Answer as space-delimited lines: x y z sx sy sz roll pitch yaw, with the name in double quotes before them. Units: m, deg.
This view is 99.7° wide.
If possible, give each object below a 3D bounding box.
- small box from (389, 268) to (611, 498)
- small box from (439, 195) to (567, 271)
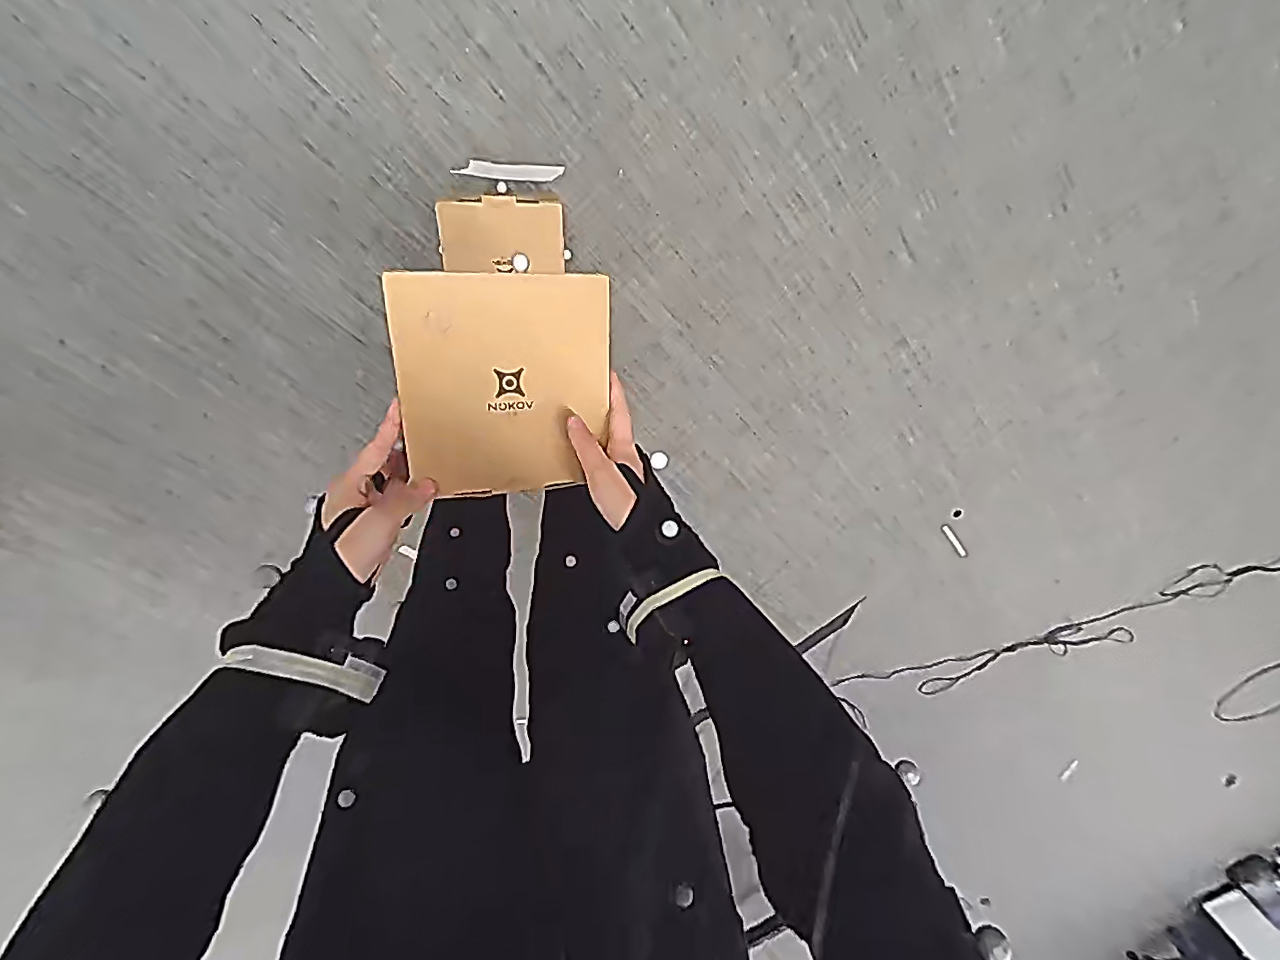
"small box" -0.128 -0.101 0.501 0.168 0.176 0.179 -6 113 -17
"small box" -0.199 -0.331 0.819 0.168 0.176 0.179 -4 121 -10
